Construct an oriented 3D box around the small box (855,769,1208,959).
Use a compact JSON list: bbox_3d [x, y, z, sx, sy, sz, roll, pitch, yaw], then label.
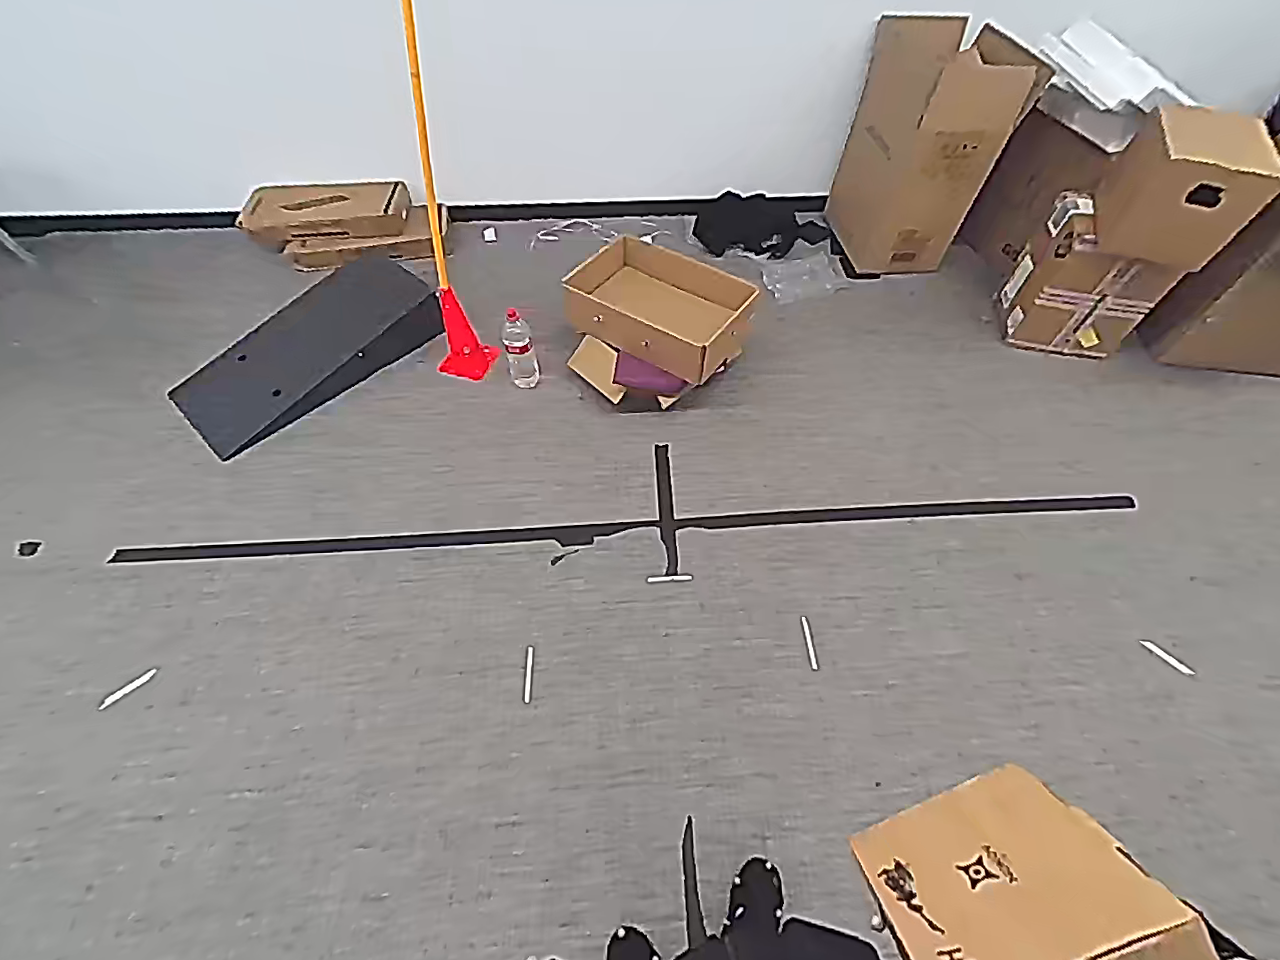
[{"bbox_3d":[0.315,0.387,0.440,0.179,0.168,0.176,-24,93,2],"label":"small box"}]
